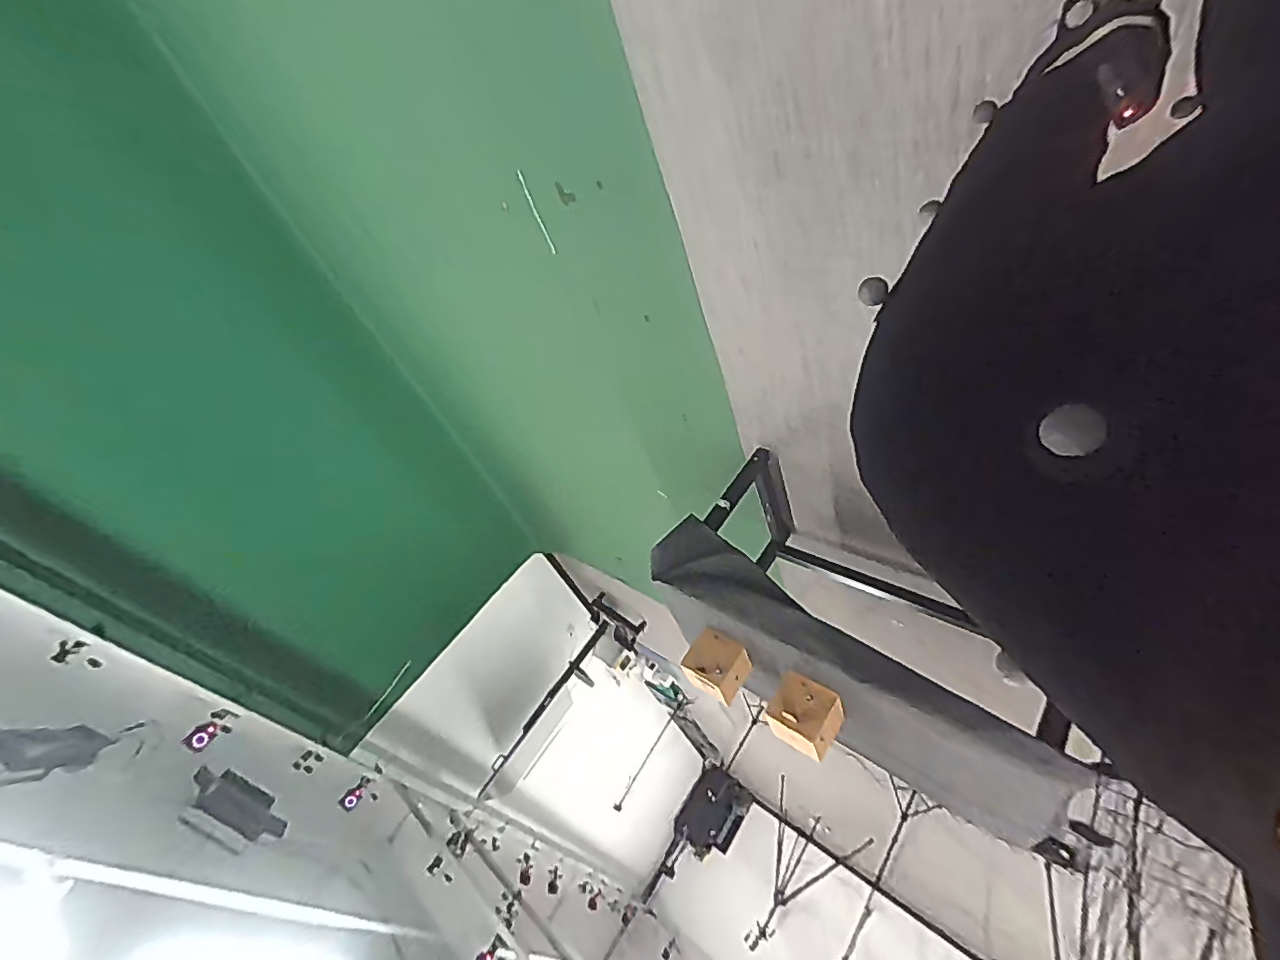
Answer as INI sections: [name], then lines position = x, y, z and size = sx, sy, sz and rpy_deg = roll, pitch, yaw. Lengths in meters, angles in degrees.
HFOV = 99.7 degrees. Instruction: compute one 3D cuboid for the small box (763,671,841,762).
[small box]
position = 0.512, 0.732, 1.684
size = 0.168, 0.176, 0.179
rpy_deg = 19, 148, 40
